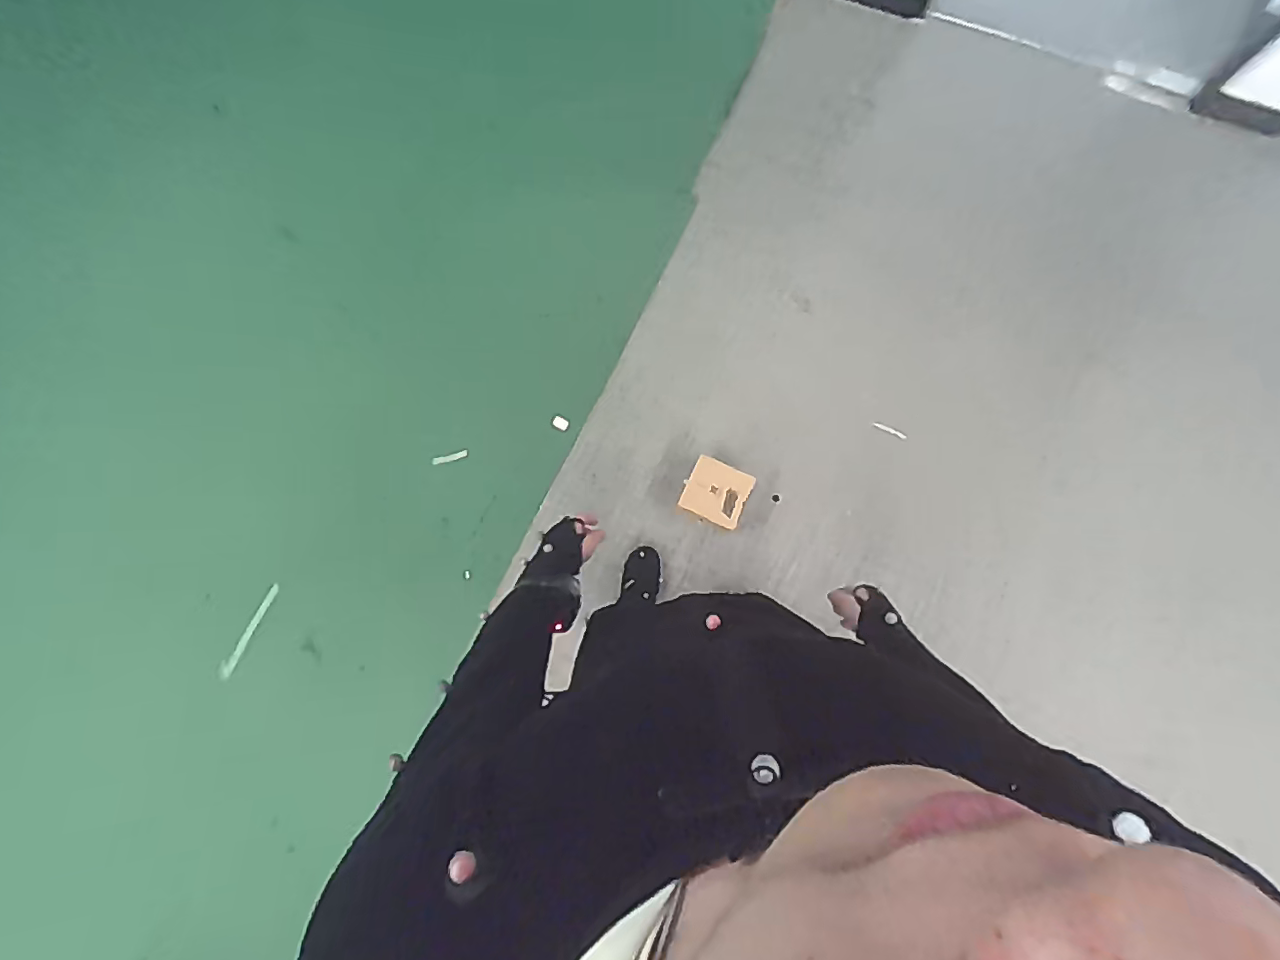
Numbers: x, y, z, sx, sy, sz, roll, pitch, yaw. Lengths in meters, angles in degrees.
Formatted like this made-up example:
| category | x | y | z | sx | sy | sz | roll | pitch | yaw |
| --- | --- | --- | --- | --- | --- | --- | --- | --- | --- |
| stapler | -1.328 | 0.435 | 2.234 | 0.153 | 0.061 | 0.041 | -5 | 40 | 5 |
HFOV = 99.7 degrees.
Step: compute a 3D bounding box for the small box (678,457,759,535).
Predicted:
| category | x | y | z | sx | sy | sz | roll | pitch | yaw |
| --- | --- | --- | --- | --- | --- | --- | --- | --- | --- |
| small box | 0.223 | 0.053 | 1.577 | 0.179 | 0.176 | 0.168 | 26 | 82 | 8 |
